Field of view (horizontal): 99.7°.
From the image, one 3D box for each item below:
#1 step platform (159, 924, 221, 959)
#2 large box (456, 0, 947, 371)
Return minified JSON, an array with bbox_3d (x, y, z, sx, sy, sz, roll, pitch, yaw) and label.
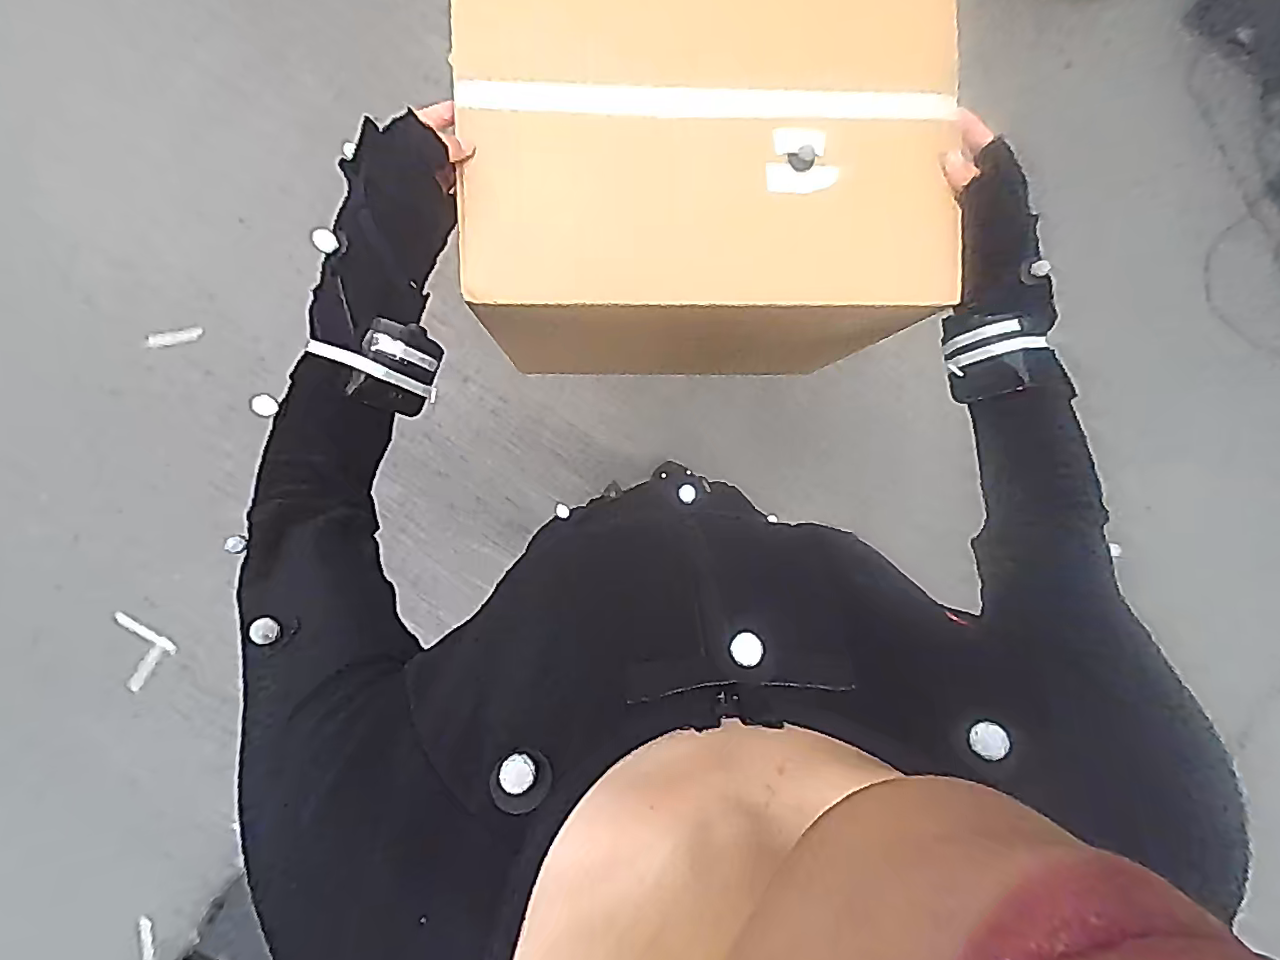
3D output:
[{"bbox_3d":[-0.957,1.442,1.332,0.684,0.204,0.286,31,88,0],"label":"step platform"},{"bbox_3d":[0.043,-0.307,0.589,0.408,0.320,0.320,-3,92,-5],"label":"large box"}]
